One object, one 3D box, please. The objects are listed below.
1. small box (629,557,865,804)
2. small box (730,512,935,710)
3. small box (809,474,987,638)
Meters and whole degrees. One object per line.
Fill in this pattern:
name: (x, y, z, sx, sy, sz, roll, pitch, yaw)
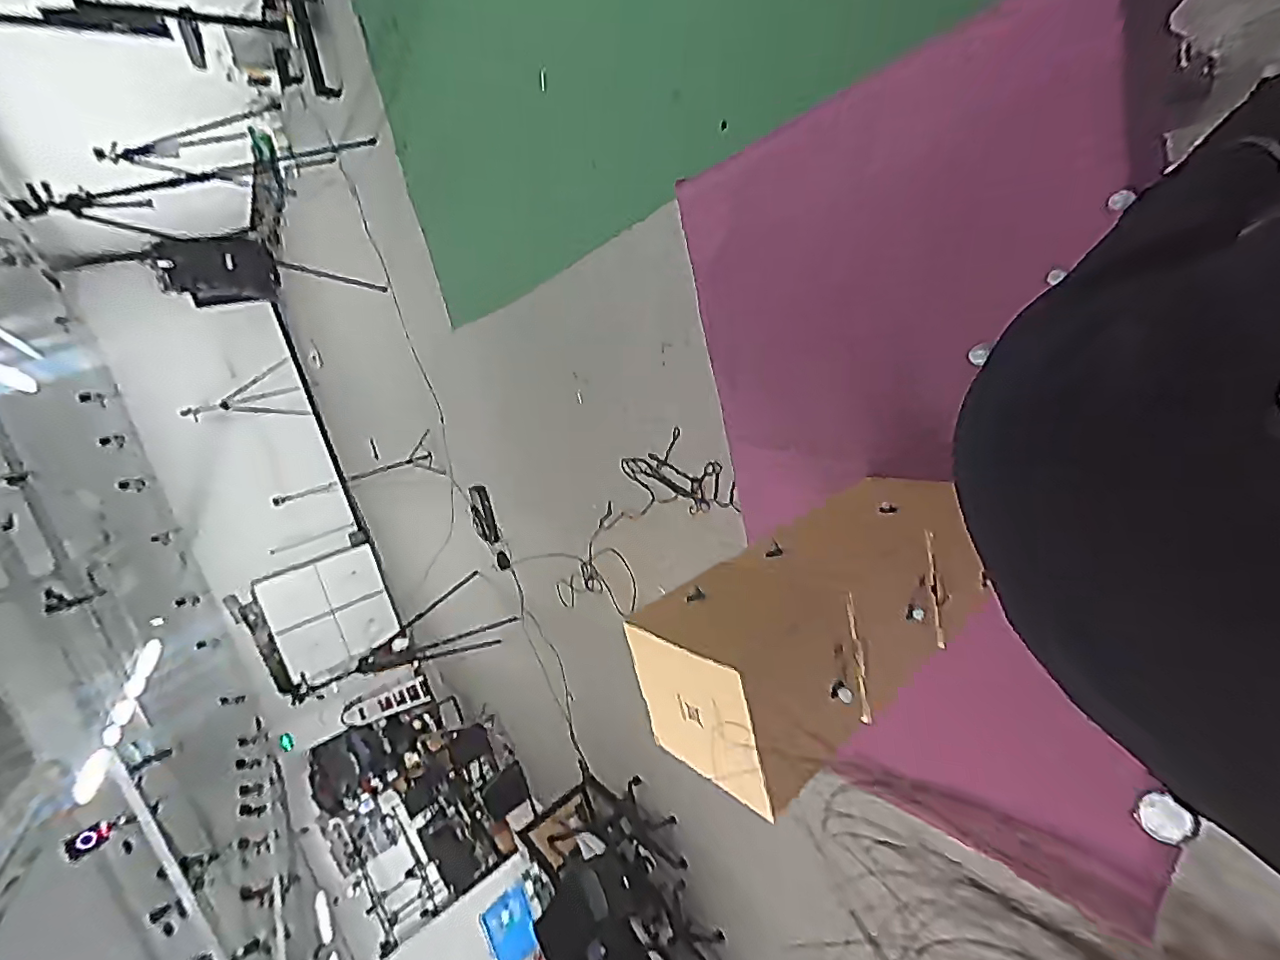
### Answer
small box: (0.118, 0.199, 0.598, 0.179, 0.176, 0.168, 4, 113, 52)
small box: (0.245, 0.148, 0.688, 0.179, 0.176, 0.168, 4, 112, 52)
small box: (0.374, 0.094, 0.775, 0.179, 0.176, 0.168, 6, 113, 52)
